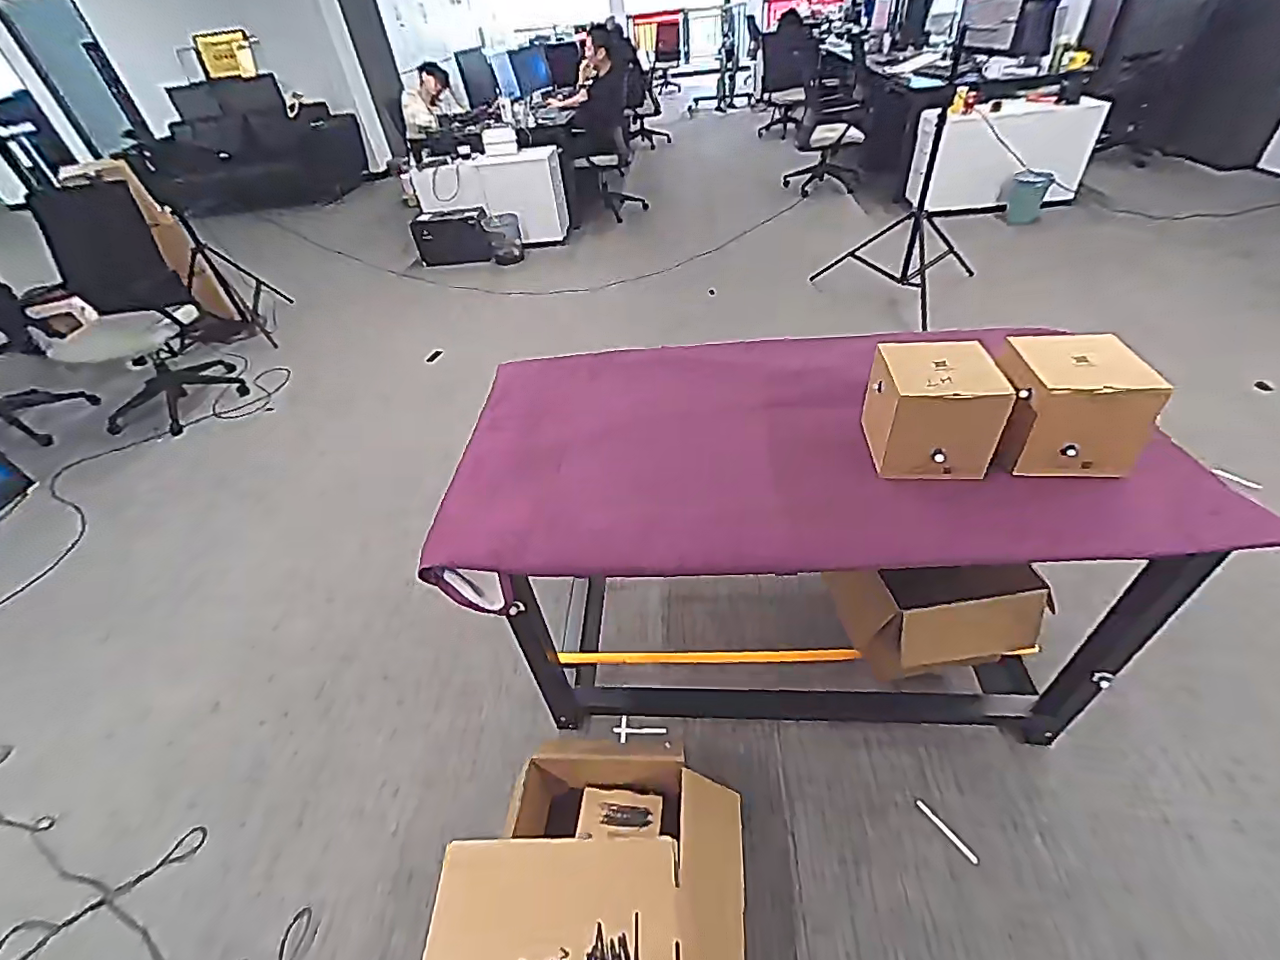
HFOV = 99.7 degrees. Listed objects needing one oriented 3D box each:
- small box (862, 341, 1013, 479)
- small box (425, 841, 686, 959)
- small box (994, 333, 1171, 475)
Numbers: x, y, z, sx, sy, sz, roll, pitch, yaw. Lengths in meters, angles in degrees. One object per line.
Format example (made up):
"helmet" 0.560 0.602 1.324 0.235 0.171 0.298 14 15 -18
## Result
"small box" 0.490 -0.120 0.924 0.168 0.176 0.179 0 41 9
"small box" -0.053 0.385 0.404 0.179 0.176 0.168 -3 44 3
"small box" 0.699 -0.128 0.899 0.168 0.176 0.179 0 41 10
